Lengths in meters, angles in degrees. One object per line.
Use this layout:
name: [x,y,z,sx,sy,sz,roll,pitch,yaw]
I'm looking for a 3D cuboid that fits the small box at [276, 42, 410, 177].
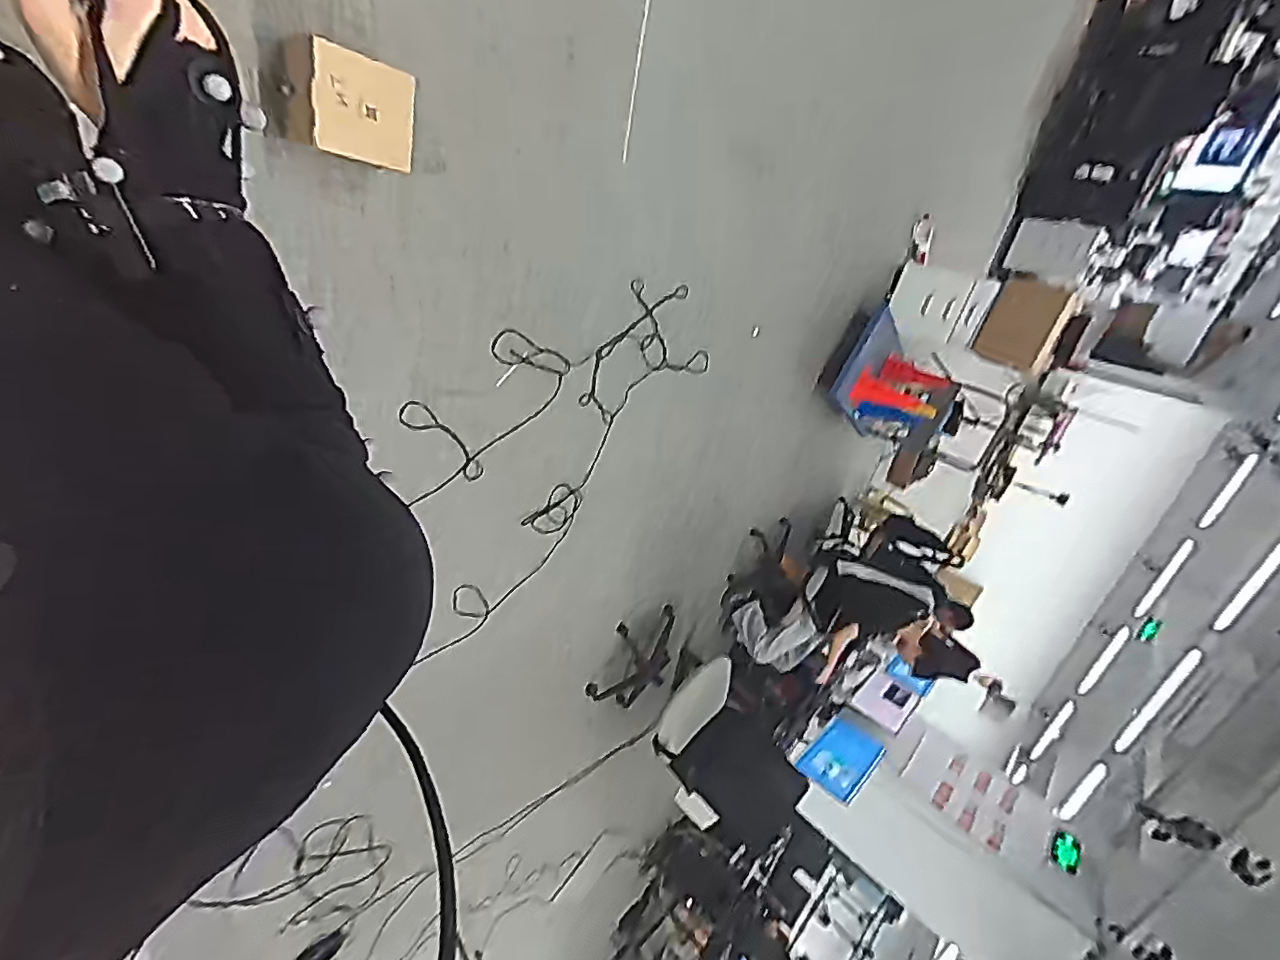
small box: [-0.564,-0.697,1.028,0.179,0.176,0.168,-12,123,-46]
